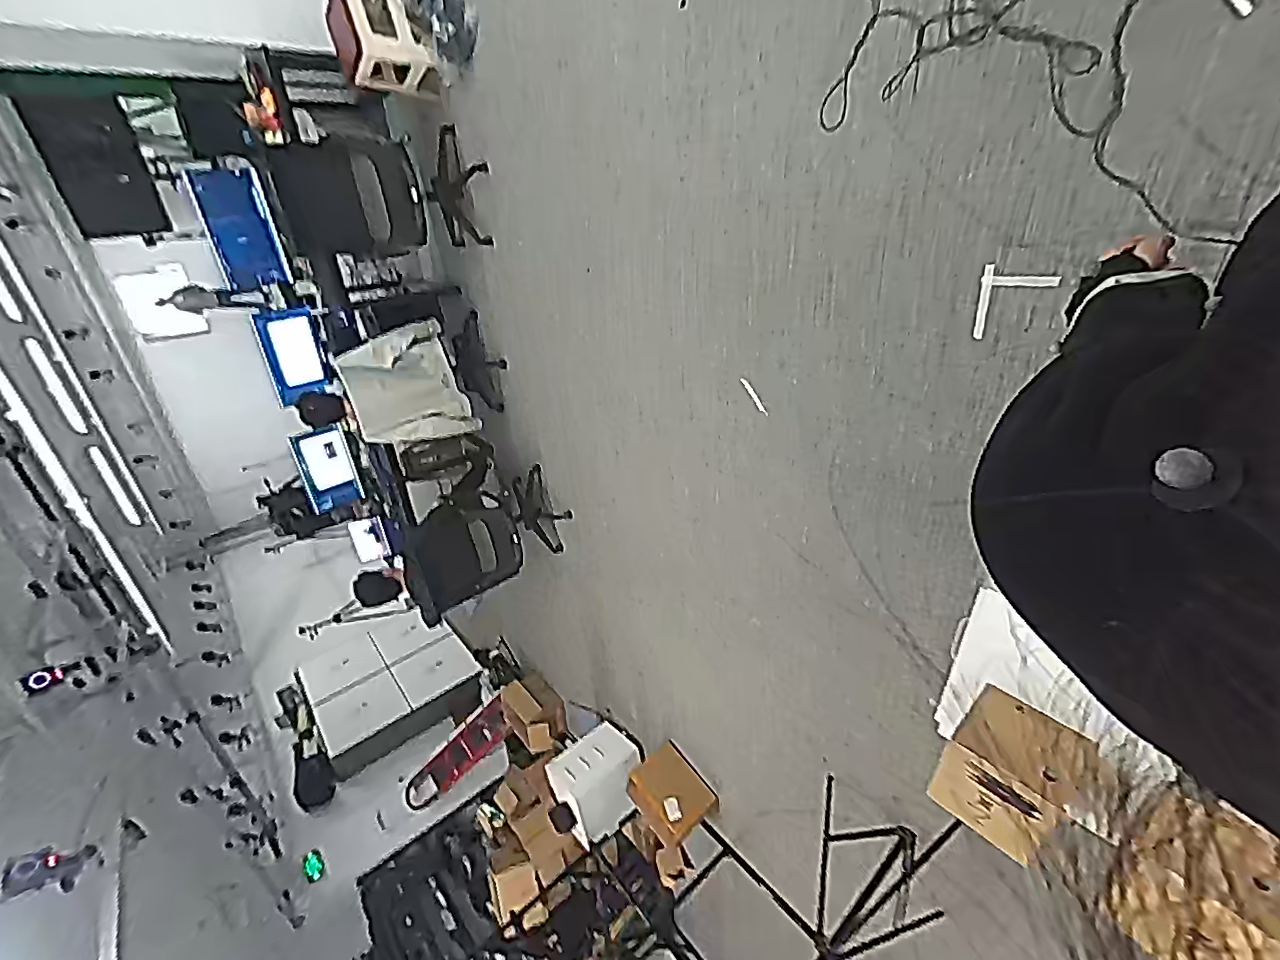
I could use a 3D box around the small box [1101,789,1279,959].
[{"bbox_3d":[0.808,0.589,0.766,0.168,0.176,0.179,31,134,41],"label":"small box"}]
